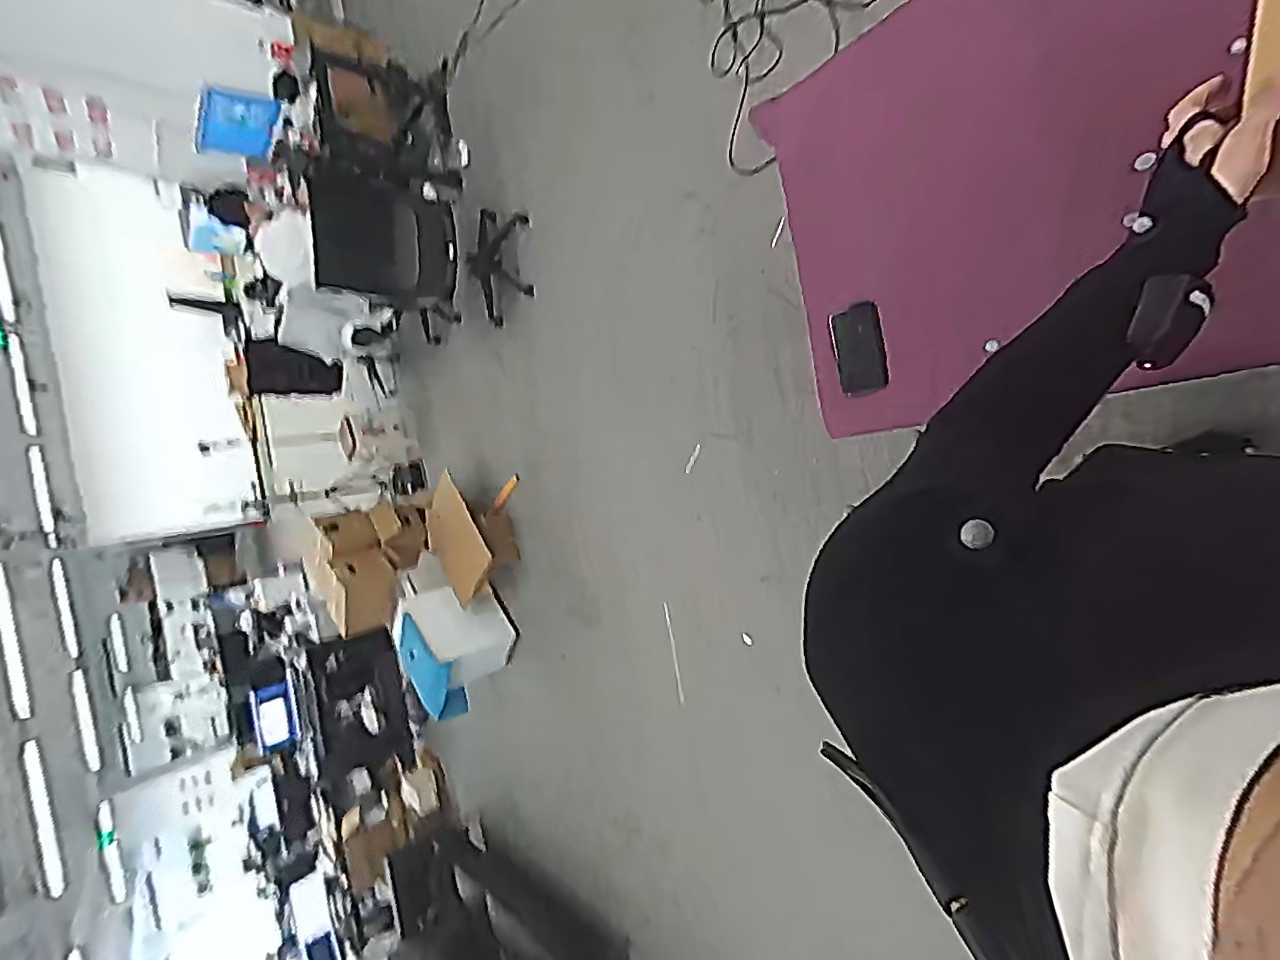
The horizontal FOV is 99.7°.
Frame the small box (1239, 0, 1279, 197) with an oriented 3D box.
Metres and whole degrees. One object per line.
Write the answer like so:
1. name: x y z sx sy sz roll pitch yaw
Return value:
1. small box: 0.617 -0.368 0.436 0.168 0.176 0.179 9 91 49
